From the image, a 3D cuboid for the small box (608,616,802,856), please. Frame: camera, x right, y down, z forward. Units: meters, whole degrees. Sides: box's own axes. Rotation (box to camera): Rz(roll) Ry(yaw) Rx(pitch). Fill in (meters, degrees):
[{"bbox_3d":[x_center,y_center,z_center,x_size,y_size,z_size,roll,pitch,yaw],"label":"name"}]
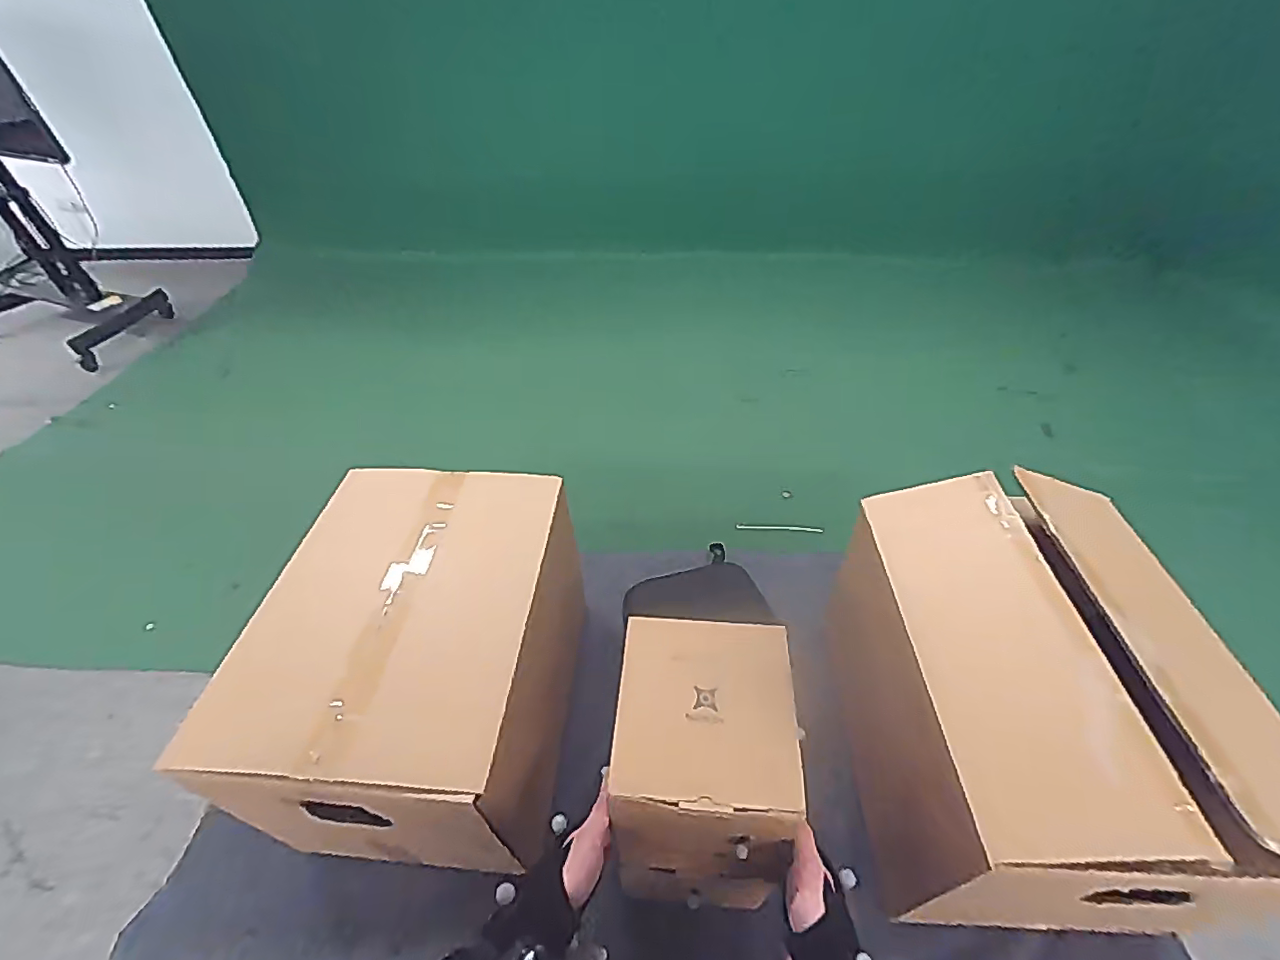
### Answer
[{"bbox_3d":[0.063,0.267,0.564,0.168,0.176,0.179,3,43,4],"label":"small box"}]
